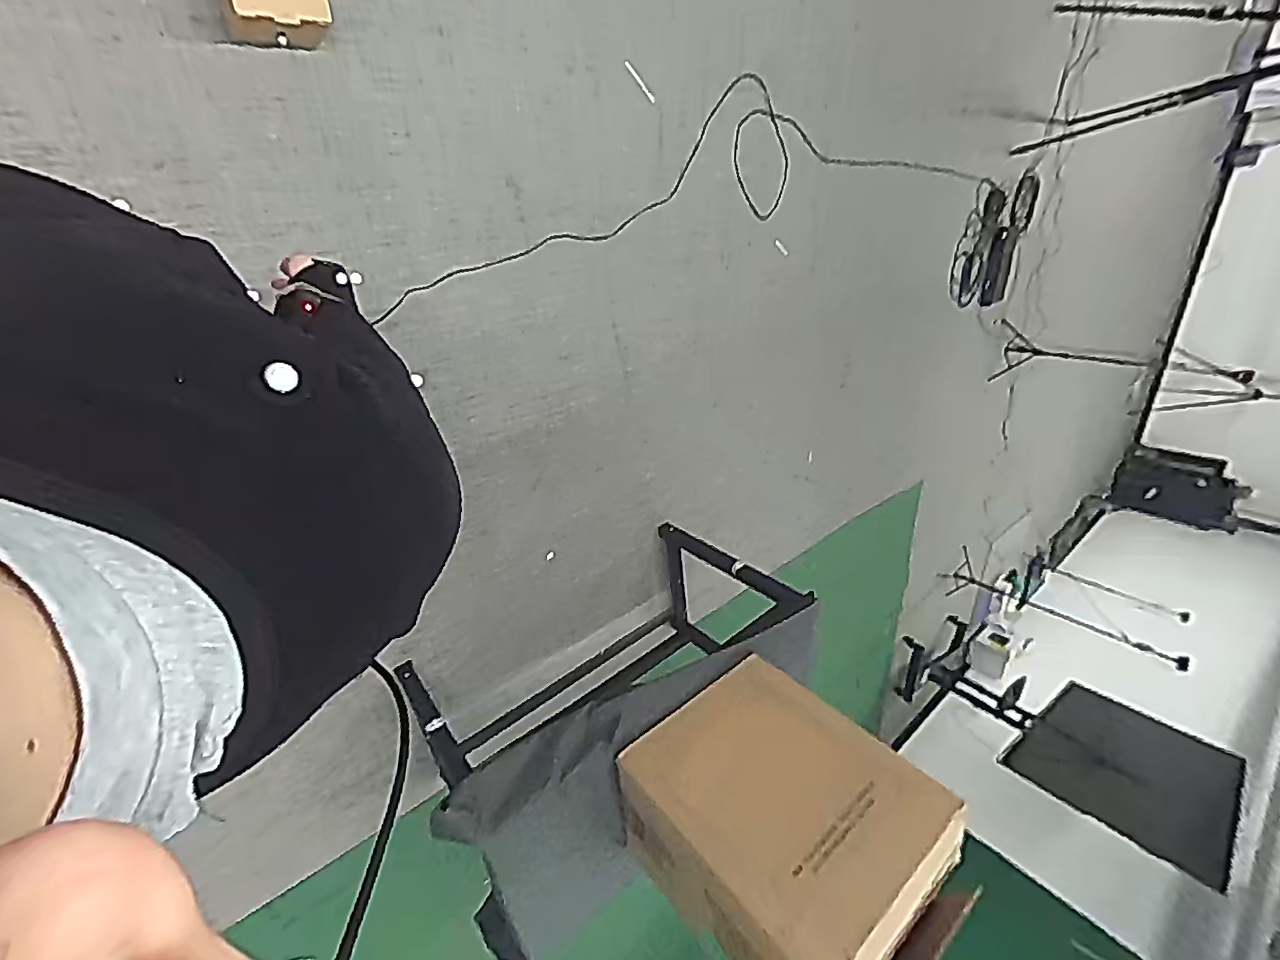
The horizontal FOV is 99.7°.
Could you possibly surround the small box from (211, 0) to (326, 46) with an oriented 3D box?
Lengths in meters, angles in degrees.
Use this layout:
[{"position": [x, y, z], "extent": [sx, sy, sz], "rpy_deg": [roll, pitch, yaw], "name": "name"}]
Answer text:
[{"position": [-0.732, -0.965, 1.038], "extent": [0.168, 0.176, 0.179], "rpy_deg": [-23, 122, -32], "name": "small box"}]
